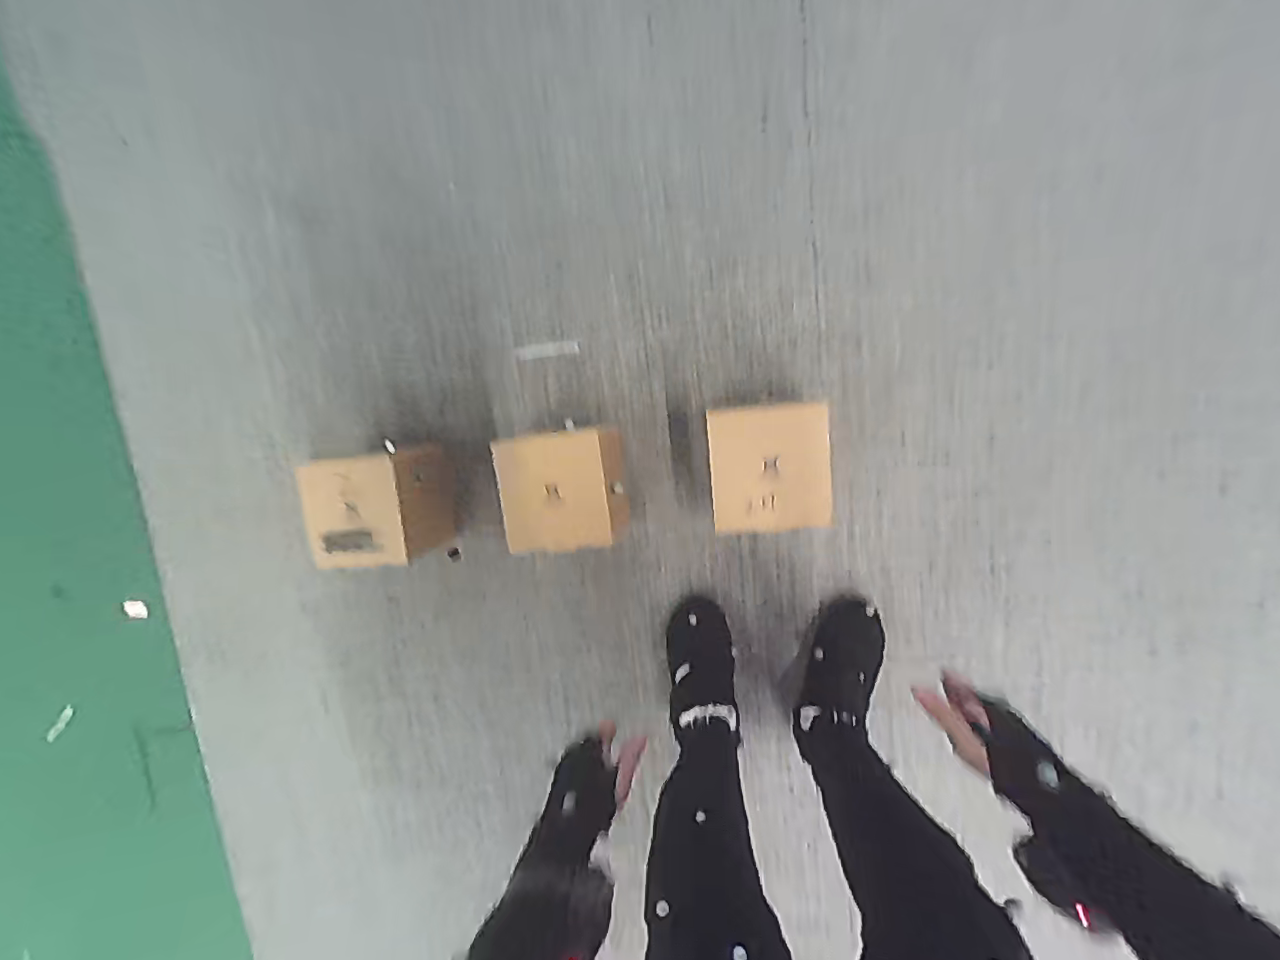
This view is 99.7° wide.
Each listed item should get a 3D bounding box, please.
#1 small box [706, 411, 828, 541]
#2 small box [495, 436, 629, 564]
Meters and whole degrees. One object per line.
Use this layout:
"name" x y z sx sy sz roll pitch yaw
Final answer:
"small box" 0.189 -0.014 0.838 0.168 0.176 0.179 -4 99 9
"small box" -0.119 0.024 0.892 0.168 0.176 0.179 -7 99 9
